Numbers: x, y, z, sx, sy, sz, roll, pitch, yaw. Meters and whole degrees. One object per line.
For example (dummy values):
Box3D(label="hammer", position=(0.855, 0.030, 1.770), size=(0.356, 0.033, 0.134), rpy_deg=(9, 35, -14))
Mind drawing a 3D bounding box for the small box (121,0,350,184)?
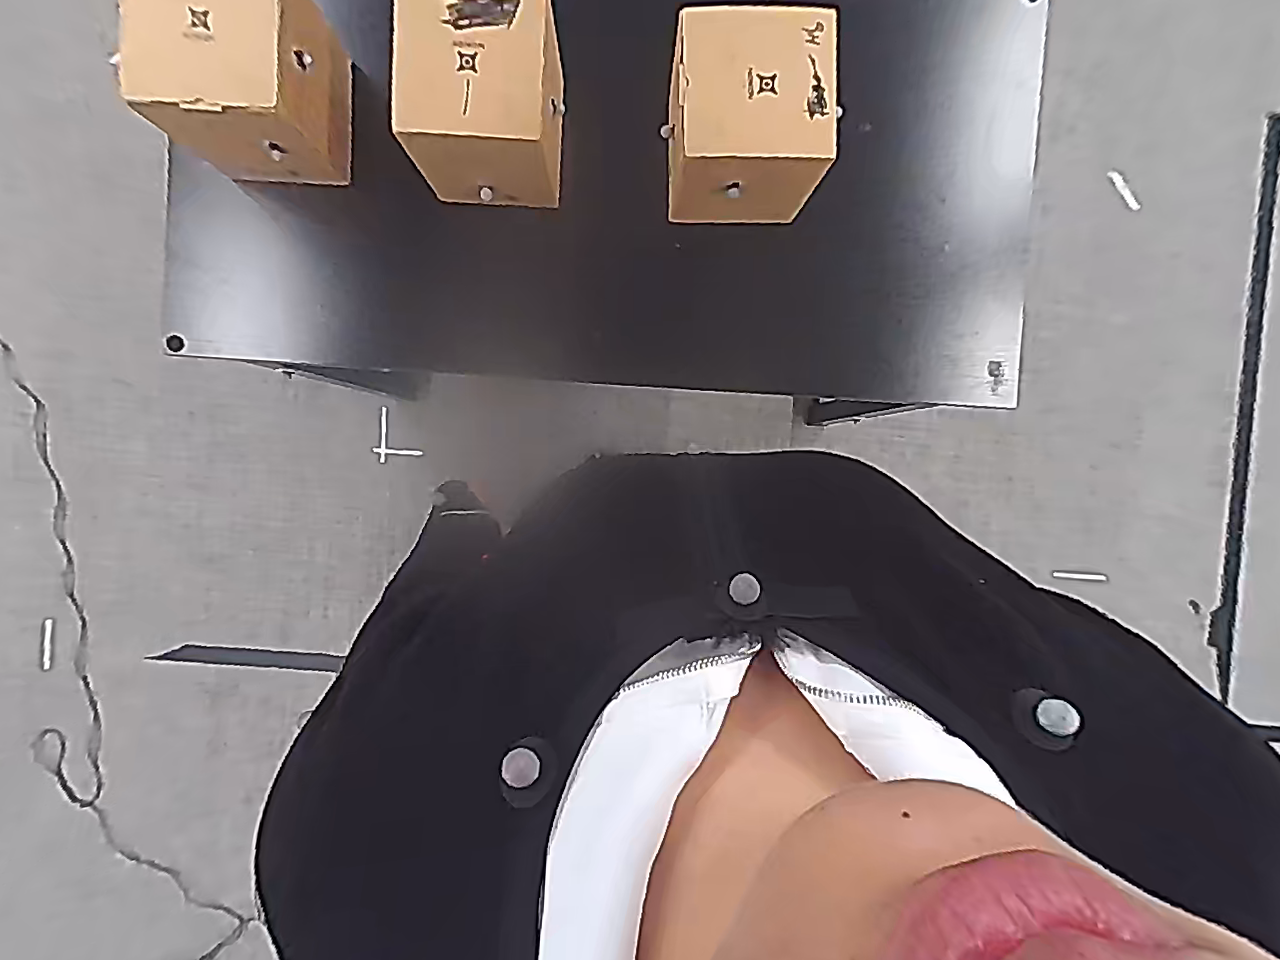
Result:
Box3D(label="small box", position=(-0.478, -0.493, 0.665), size=(0.168, 0.176, 0.179), rpy_deg=(1, 91, -3))

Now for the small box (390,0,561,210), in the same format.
Box3D(label="small box", position=(-0.192, -0.468, 0.674), size=(0.168, 0.176, 0.179), rpy_deg=(2, 93, -2))

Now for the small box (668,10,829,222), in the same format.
Box3D(label="small box", position=(0.125, -0.444, 0.686), size=(0.179, 0.176, 0.168), rpy_deg=(-1, 92, -1))
